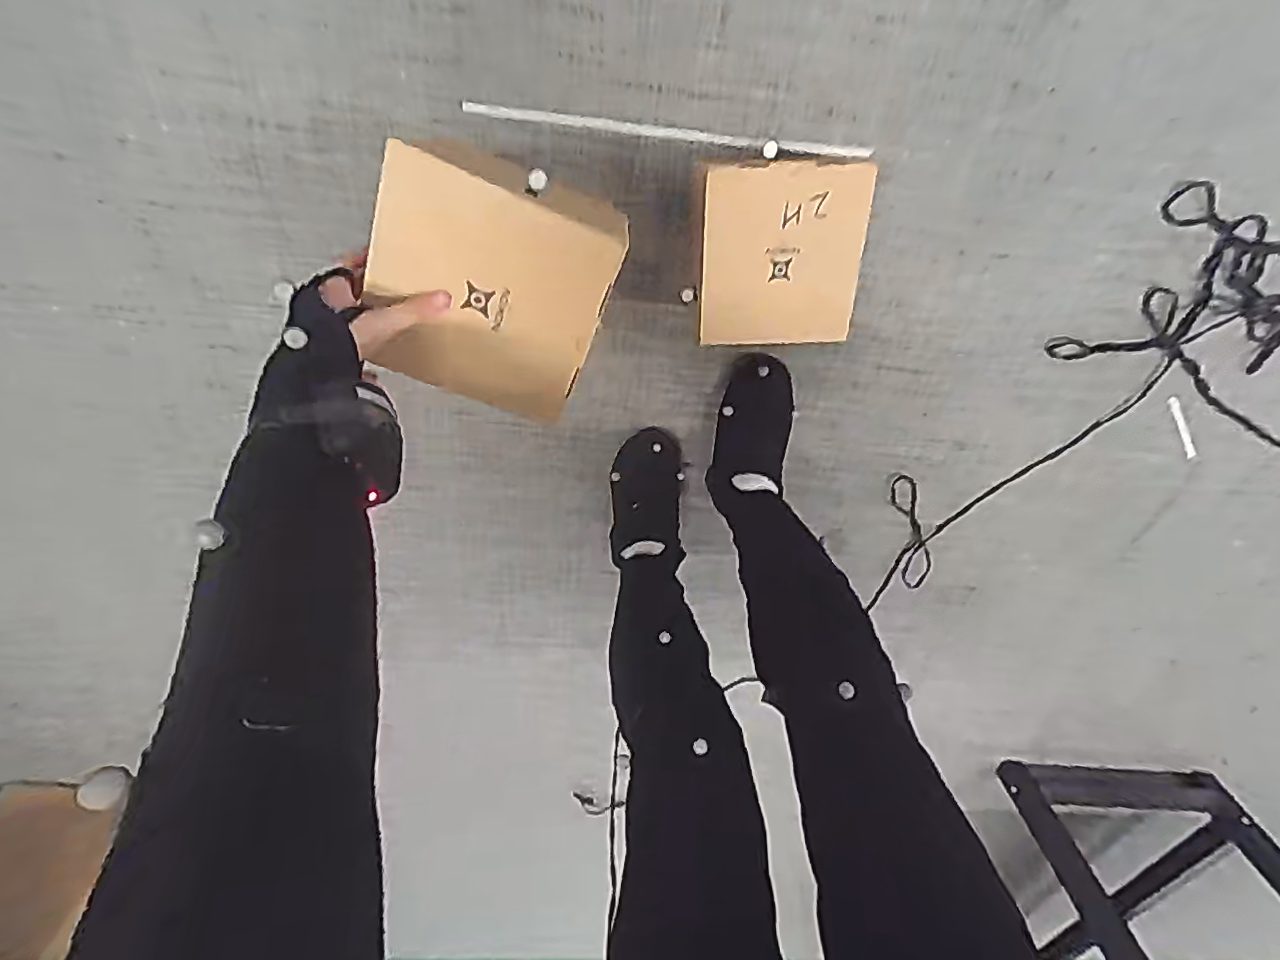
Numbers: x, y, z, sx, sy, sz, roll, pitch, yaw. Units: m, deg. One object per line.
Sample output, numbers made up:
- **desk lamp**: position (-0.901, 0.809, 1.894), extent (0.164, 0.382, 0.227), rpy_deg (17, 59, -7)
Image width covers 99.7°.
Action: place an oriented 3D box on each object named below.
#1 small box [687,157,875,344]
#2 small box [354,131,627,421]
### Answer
- **small box**: position (0.144, -0.268, 0.624), extent (0.168, 0.176, 0.179), rpy_deg (-1, 121, 0)
- **small box**: position (-0.123, -0.182, 0.487), extent (0.179, 0.176, 0.168), rpy_deg (19, 118, -14)
